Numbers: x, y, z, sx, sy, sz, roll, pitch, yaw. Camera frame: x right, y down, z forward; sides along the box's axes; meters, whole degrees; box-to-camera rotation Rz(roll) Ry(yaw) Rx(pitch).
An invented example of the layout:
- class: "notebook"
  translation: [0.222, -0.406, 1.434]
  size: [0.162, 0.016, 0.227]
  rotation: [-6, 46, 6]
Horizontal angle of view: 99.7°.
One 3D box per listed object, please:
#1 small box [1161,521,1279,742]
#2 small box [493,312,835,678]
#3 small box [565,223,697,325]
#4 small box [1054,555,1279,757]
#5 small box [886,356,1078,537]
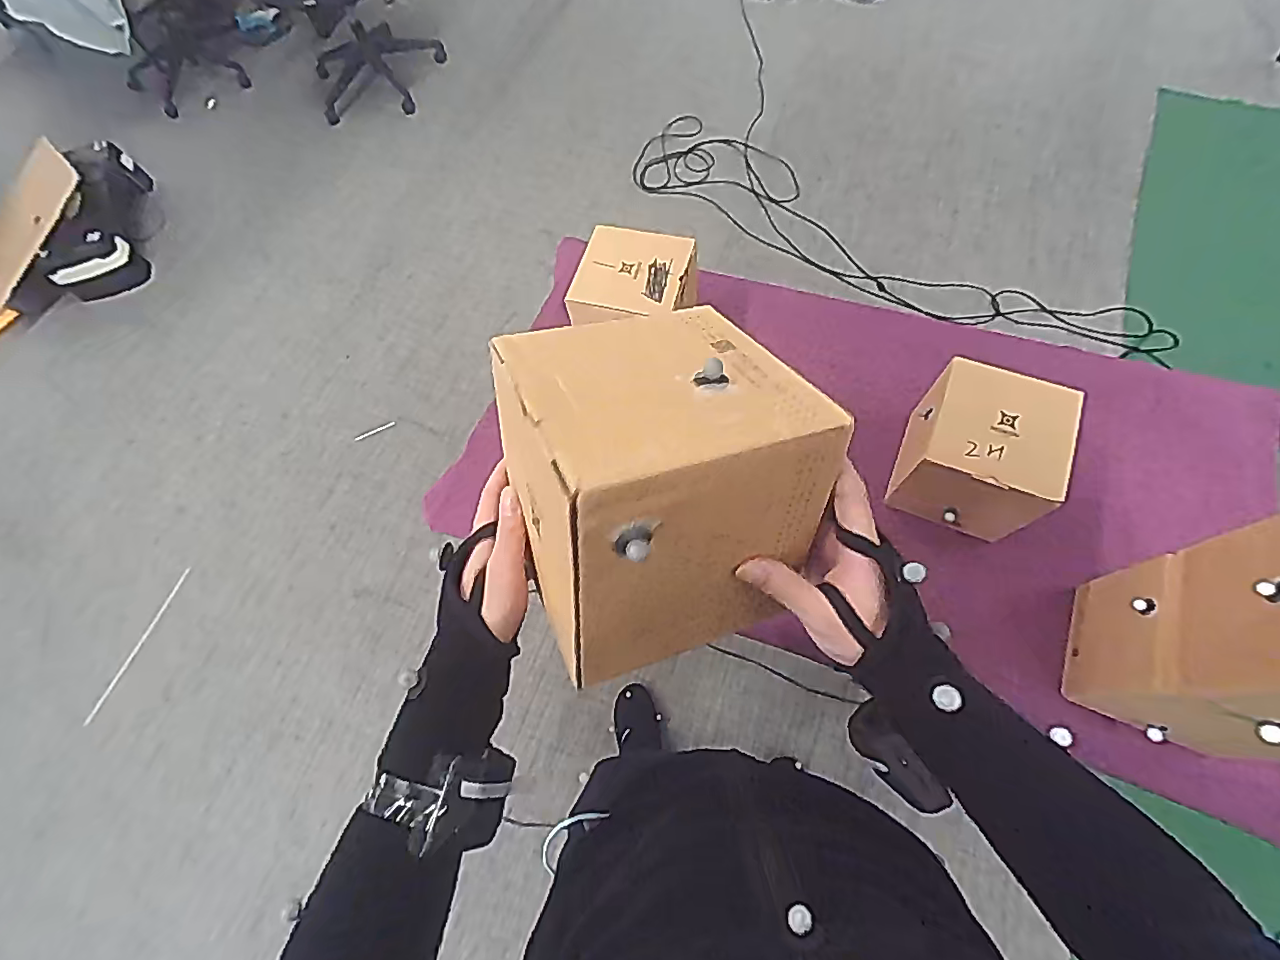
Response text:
- class: "small box"
  translation: [0.649, 0.148, 0.509]
  size: [0.168, 0.176, 0.179]
  rotation: [21, 70, 15]
- class: "small box"
  translation: [0.006, 0.003, 0.380]
  size: [0.176, 0.179, 0.168]
  rotation: [-14, 45, -20]
- class: "small box"
  translation: [-0.006, -0.307, 0.936]
  size: [0.179, 0.176, 0.168]
  rotation: [14, 70, 11]
- class: "small box"
  translation: [0.660, 0.215, 0.658]
  size: [0.179, 0.176, 0.168]
  rotation: [21, 70, 14]
- class: "small box"
  translation: [0.481, -0.042, 0.783]
  size: [0.168, 0.176, 0.179]
  rotation: [22, 71, 14]
